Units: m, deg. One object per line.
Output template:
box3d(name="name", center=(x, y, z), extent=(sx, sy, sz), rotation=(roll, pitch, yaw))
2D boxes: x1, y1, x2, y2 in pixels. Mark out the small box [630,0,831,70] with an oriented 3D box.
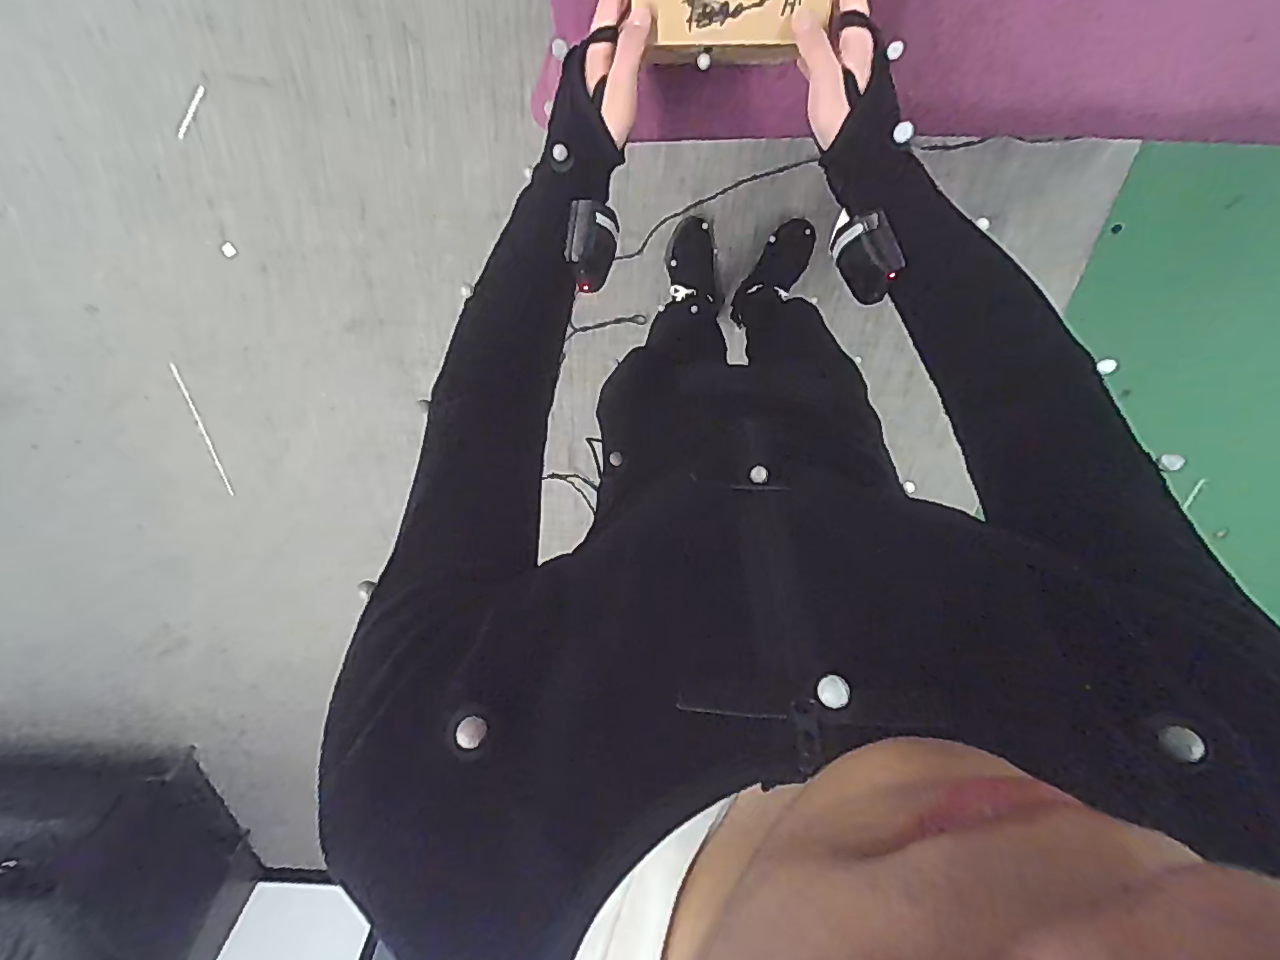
box3d(name="small box", center=(0.074, -0.478, 0.473), extent=(0.168, 0.176, 0.179), rotation=(1, 124, 1))
